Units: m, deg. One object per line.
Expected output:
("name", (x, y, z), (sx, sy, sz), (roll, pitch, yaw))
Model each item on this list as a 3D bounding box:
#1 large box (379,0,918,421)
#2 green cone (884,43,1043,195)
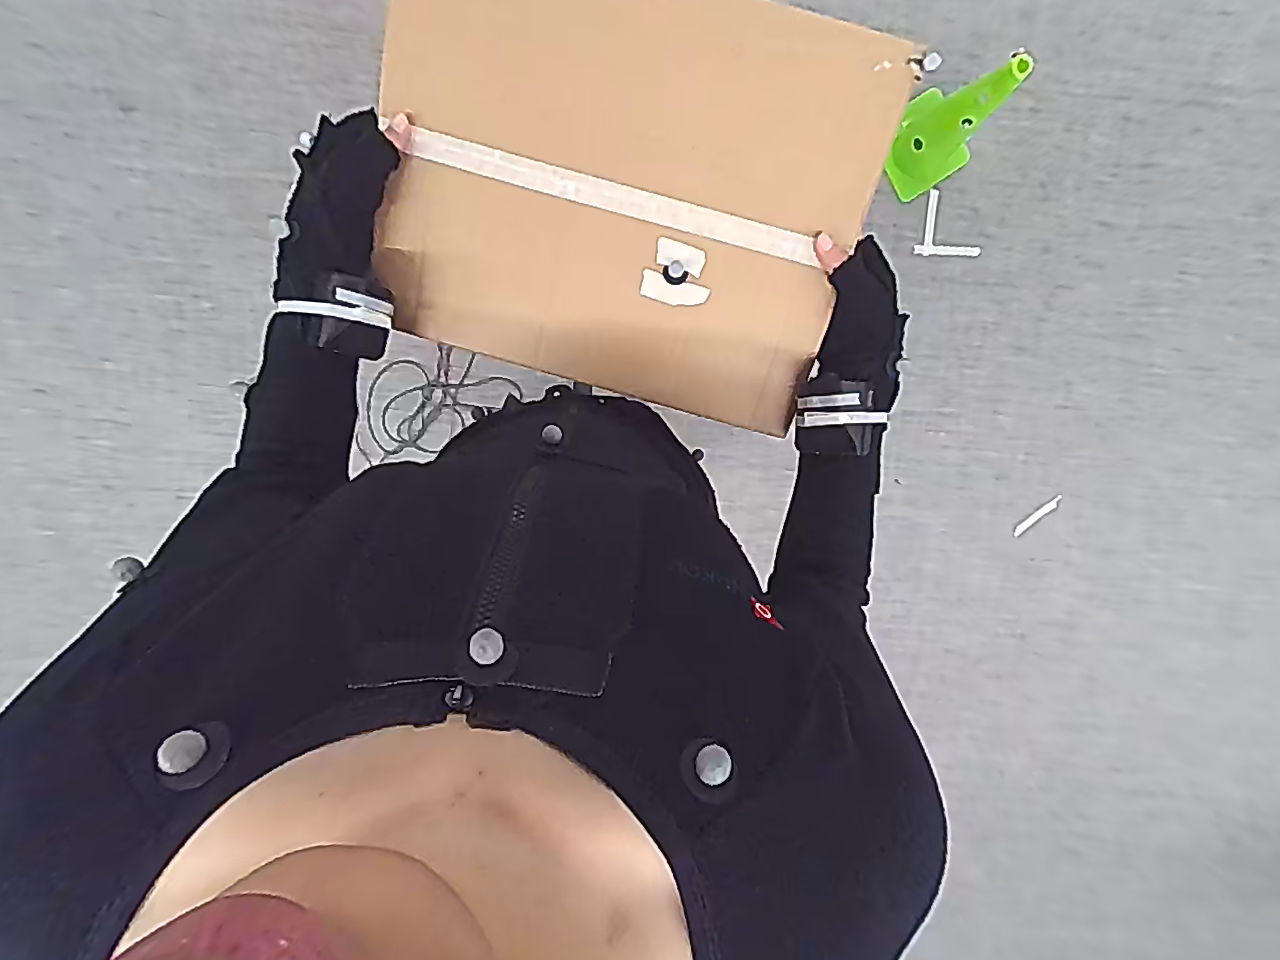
("large box", (-0.006, -0.286, 0.597), (0.408, 0.320, 0.320), (15, 109, -1))
("green cone", (0.708, -0.809, 1.167), (0.202, 0.368, 0.200), (-34, 101, 3))
